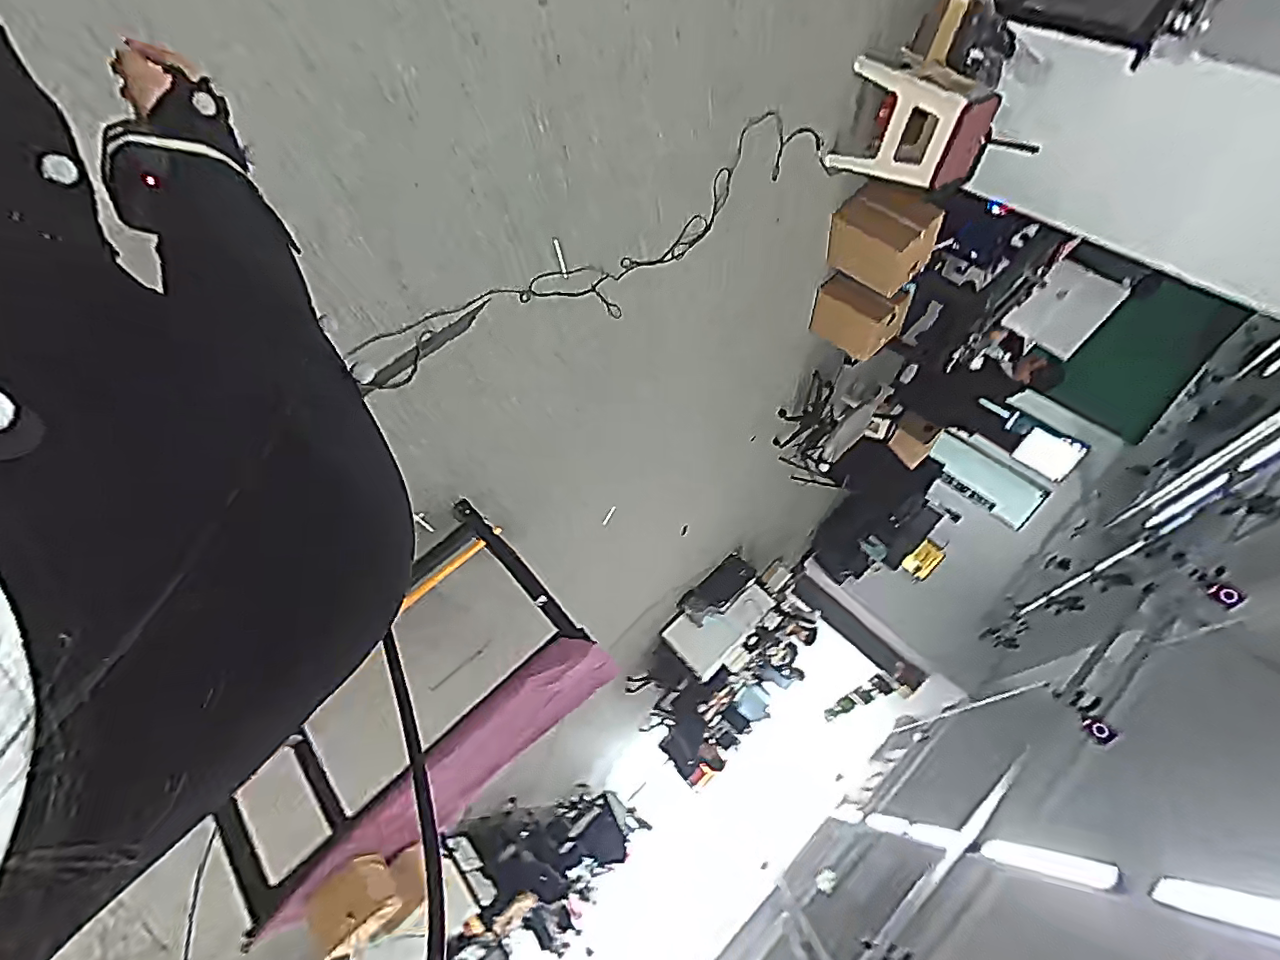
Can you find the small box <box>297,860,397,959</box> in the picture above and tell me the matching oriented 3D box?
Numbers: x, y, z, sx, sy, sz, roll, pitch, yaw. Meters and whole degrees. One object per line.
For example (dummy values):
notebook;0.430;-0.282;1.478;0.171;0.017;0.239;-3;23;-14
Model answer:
small box;-0.877;1.276;1.618;0.179;0.176;0.168;-39;154;-17
